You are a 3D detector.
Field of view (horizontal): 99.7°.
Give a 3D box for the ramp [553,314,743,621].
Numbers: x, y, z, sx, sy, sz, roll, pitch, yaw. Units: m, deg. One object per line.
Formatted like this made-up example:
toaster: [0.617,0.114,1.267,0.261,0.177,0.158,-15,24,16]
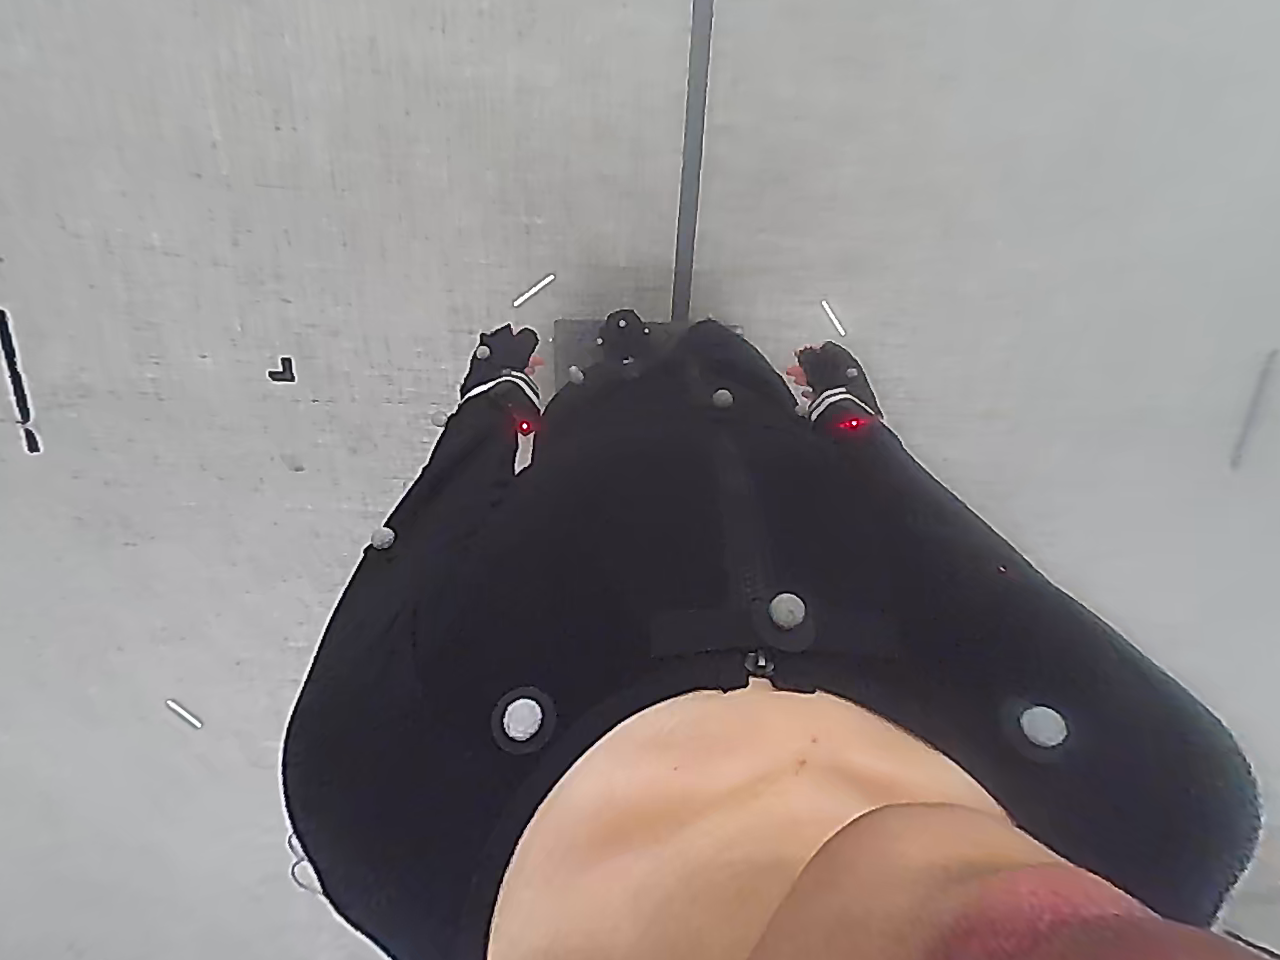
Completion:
ramp: [0.008,0.027,1.595,0.509,0.206,0.991,-1,107,-3]
